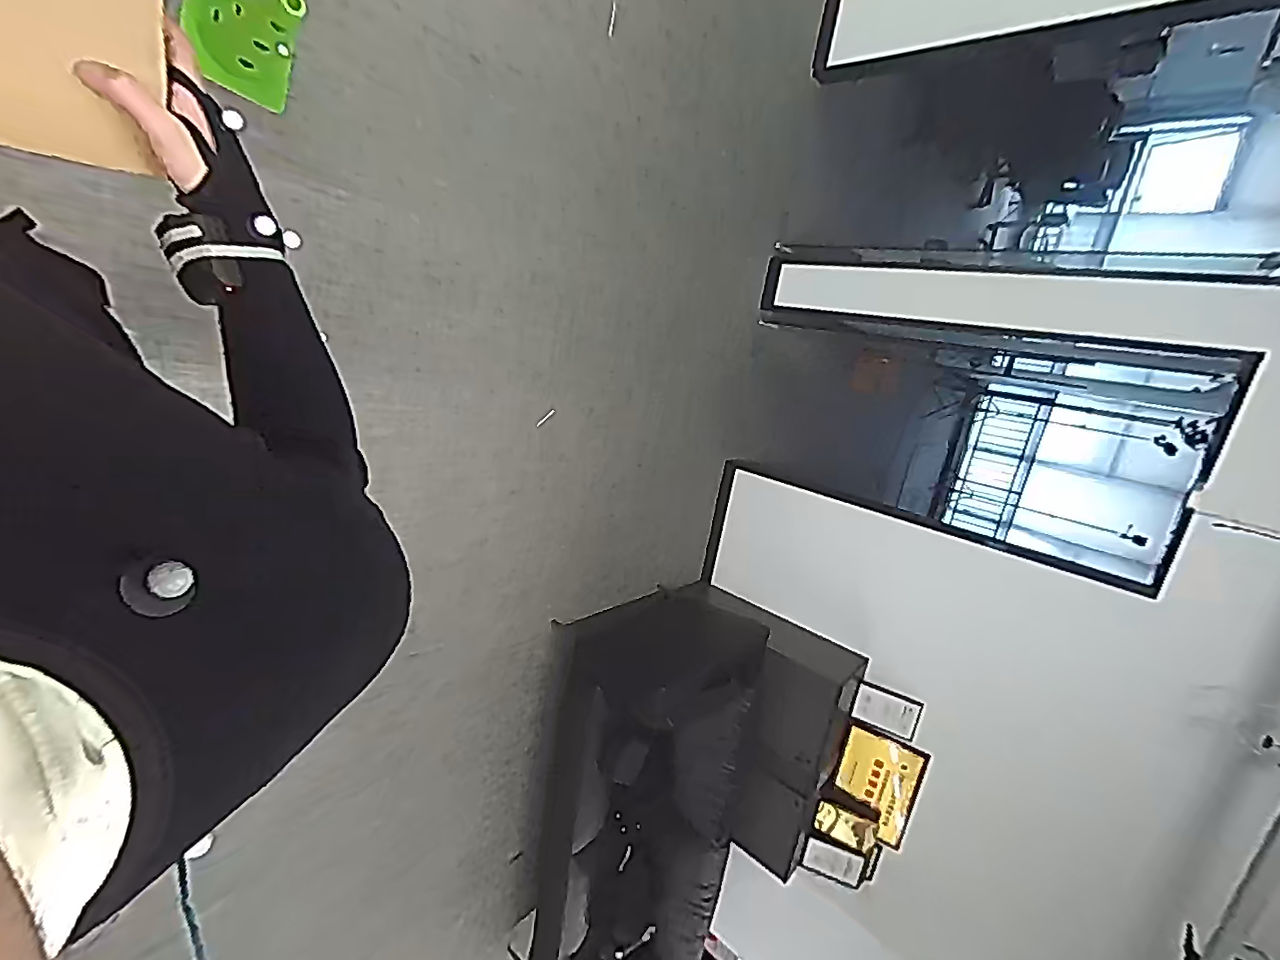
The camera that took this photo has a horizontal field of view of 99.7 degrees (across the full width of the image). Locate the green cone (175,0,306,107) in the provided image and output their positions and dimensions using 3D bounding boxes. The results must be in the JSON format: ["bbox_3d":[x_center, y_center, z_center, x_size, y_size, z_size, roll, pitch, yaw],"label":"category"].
[{"bbox_3d":[-0.758,-0.926,1.087,0.200,0.368,0.202,3,104,-52],"label":"green cone"}]
